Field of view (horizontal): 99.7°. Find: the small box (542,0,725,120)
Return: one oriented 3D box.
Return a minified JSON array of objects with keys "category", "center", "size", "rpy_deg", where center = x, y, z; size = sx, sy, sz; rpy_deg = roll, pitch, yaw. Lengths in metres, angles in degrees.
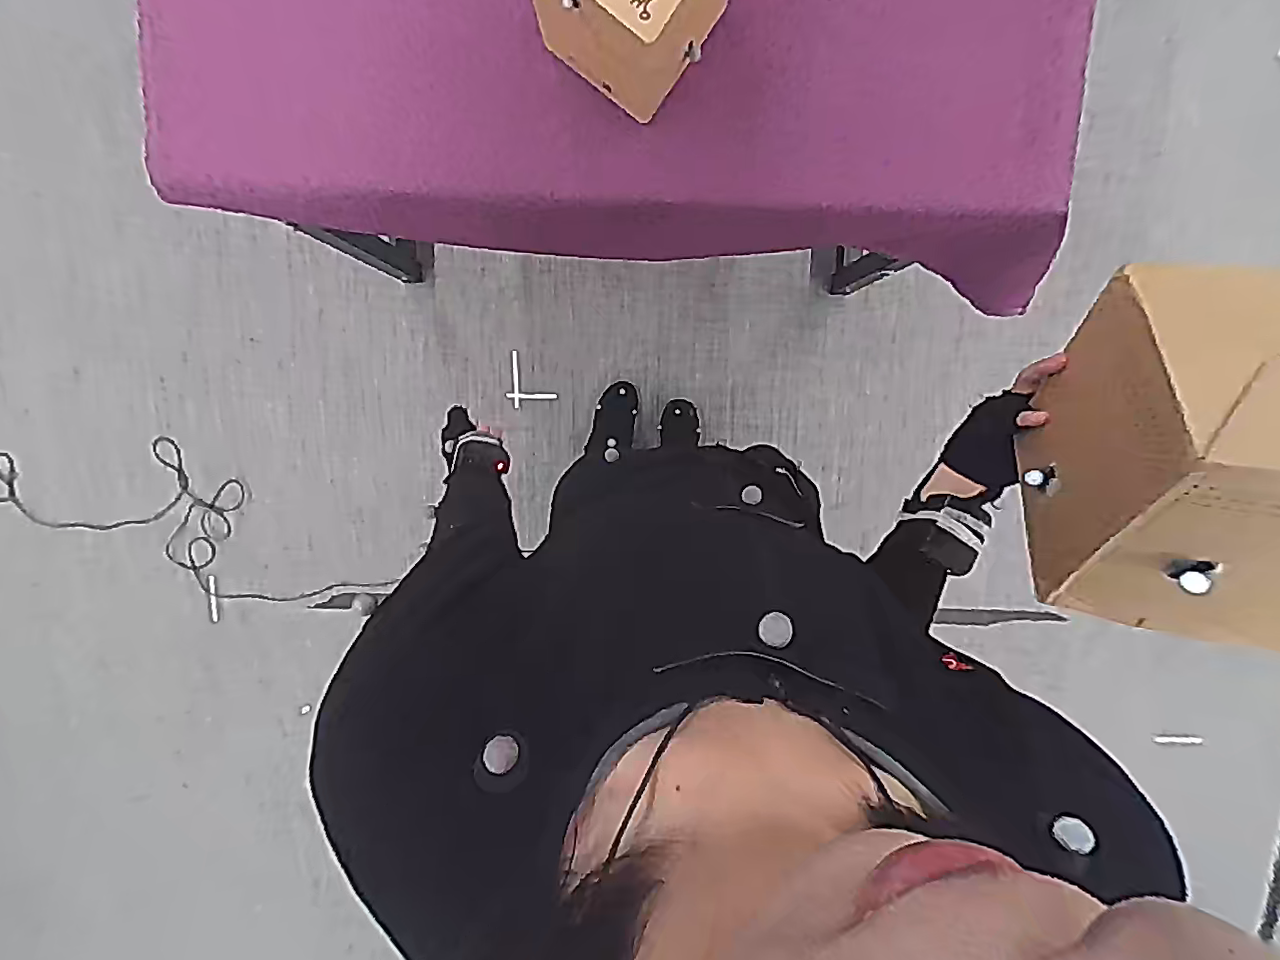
[{"category":"small box","center":[-0.003,-0.564,0.604],"size":[0.168,0.176,0.179],"rpy_deg":[36,95,-6]}]

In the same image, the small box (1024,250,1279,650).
[{"category":"small box","center":[0.374,-0.016,0.331],"size":[0.168,0.176,0.179],"rpy_deg":[11,56,14]}]
